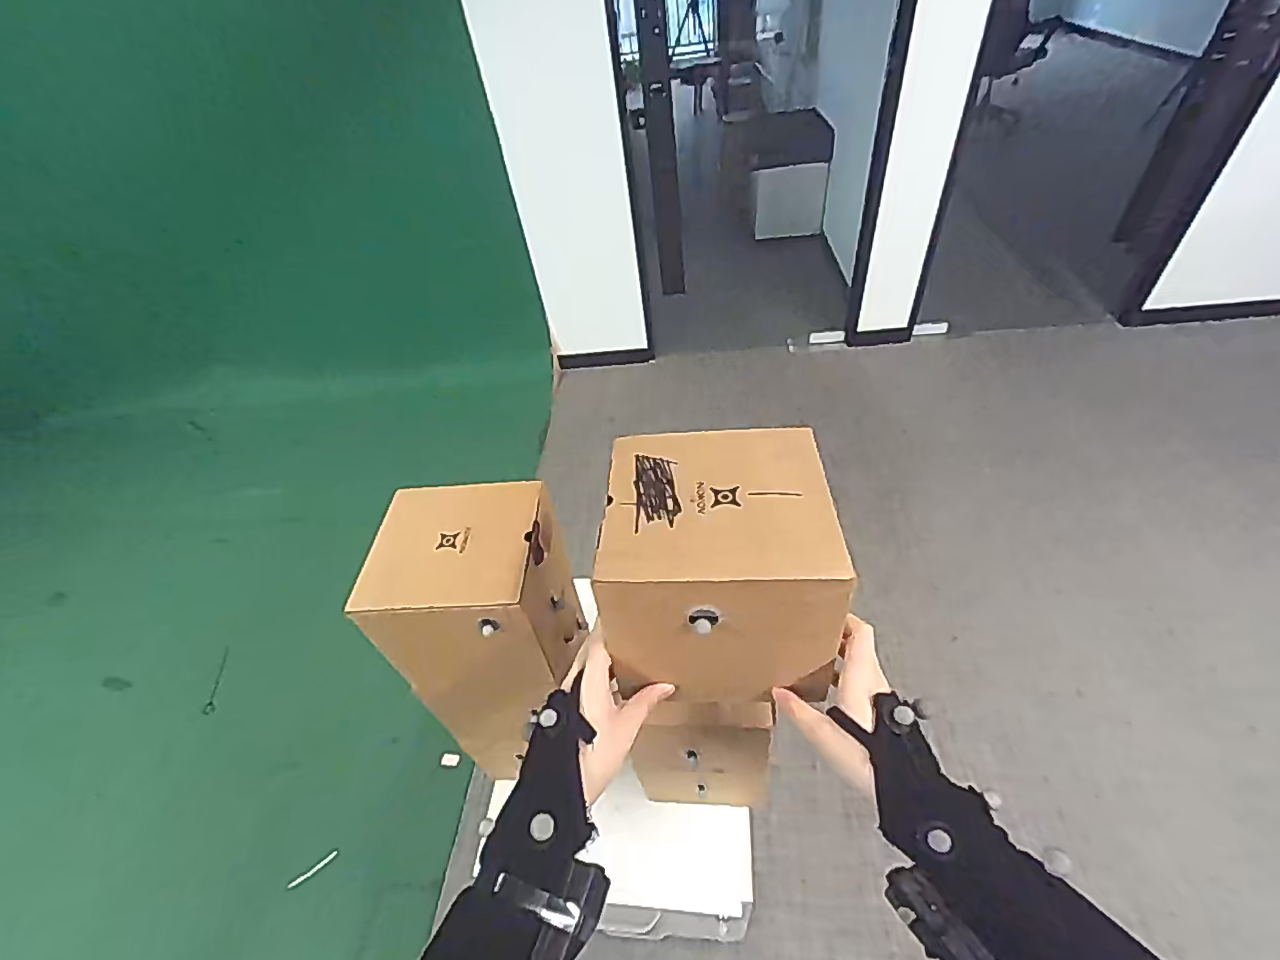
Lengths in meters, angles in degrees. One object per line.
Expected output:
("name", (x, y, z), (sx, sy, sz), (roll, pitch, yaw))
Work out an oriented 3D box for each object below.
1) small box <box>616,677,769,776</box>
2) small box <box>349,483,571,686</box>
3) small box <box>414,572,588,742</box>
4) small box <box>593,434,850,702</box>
("small box", (0.072, 0.254, 0.679), (0.168, 0.176, 0.179), (-2, 46, 8))
("small box", (-0.186, 0.123, 0.622), (0.179, 0.176, 0.168), (-3, 45, 3))
("small box", (-0.170, 0.240, 0.735), (0.179, 0.176, 0.168), (-4, 44, 4))
("small box", (0.066, 0.078, 0.472), (0.179, 0.176, 0.168), (-2, 42, 6))
